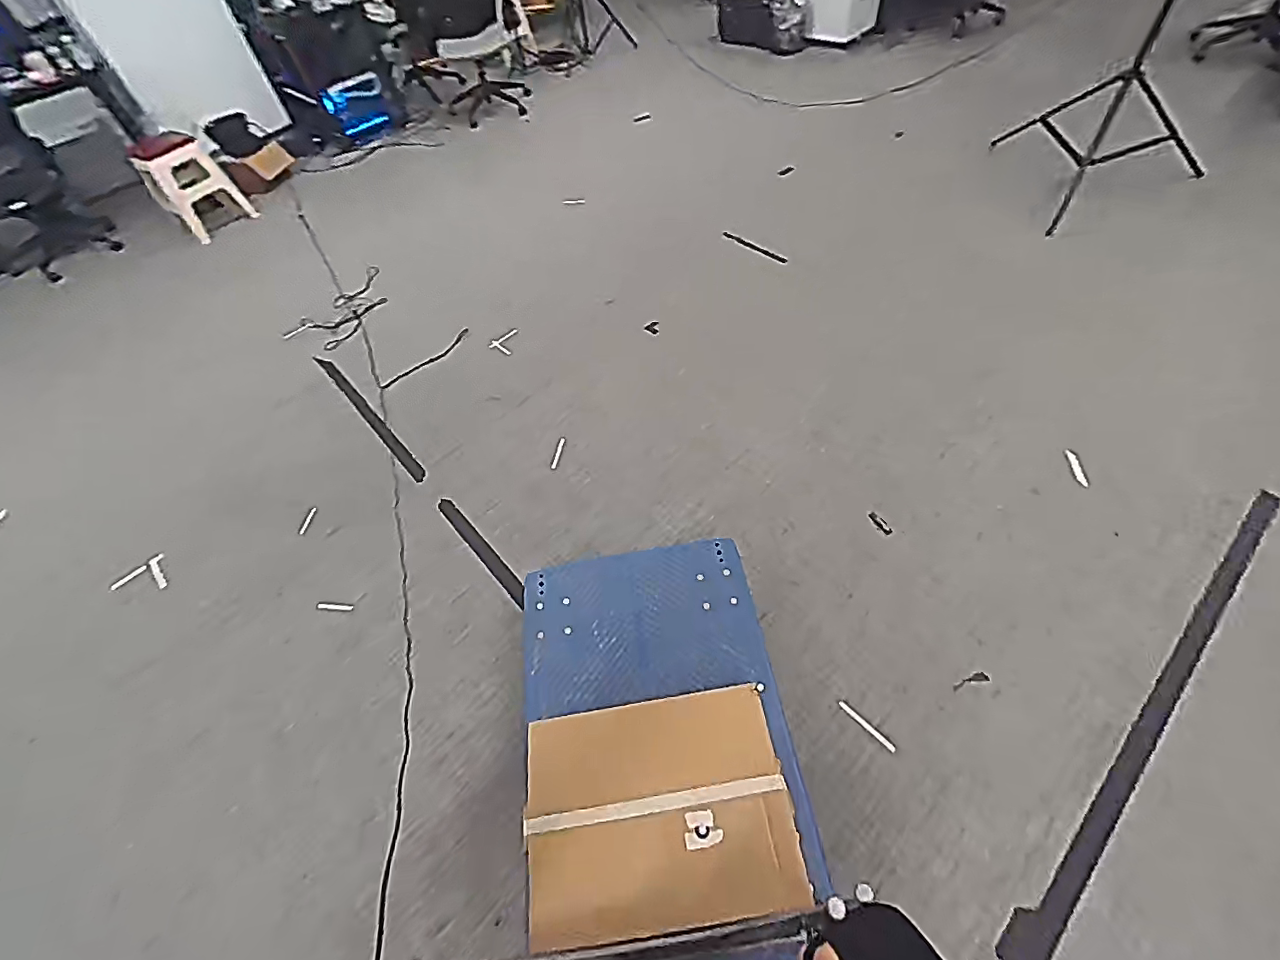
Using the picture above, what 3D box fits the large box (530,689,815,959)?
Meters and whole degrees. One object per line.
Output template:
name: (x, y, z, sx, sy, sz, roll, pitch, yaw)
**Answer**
large box: (0.043, 0.606, 0.951, 0.408, 0.320, 0.320, -10, 51, 0)
